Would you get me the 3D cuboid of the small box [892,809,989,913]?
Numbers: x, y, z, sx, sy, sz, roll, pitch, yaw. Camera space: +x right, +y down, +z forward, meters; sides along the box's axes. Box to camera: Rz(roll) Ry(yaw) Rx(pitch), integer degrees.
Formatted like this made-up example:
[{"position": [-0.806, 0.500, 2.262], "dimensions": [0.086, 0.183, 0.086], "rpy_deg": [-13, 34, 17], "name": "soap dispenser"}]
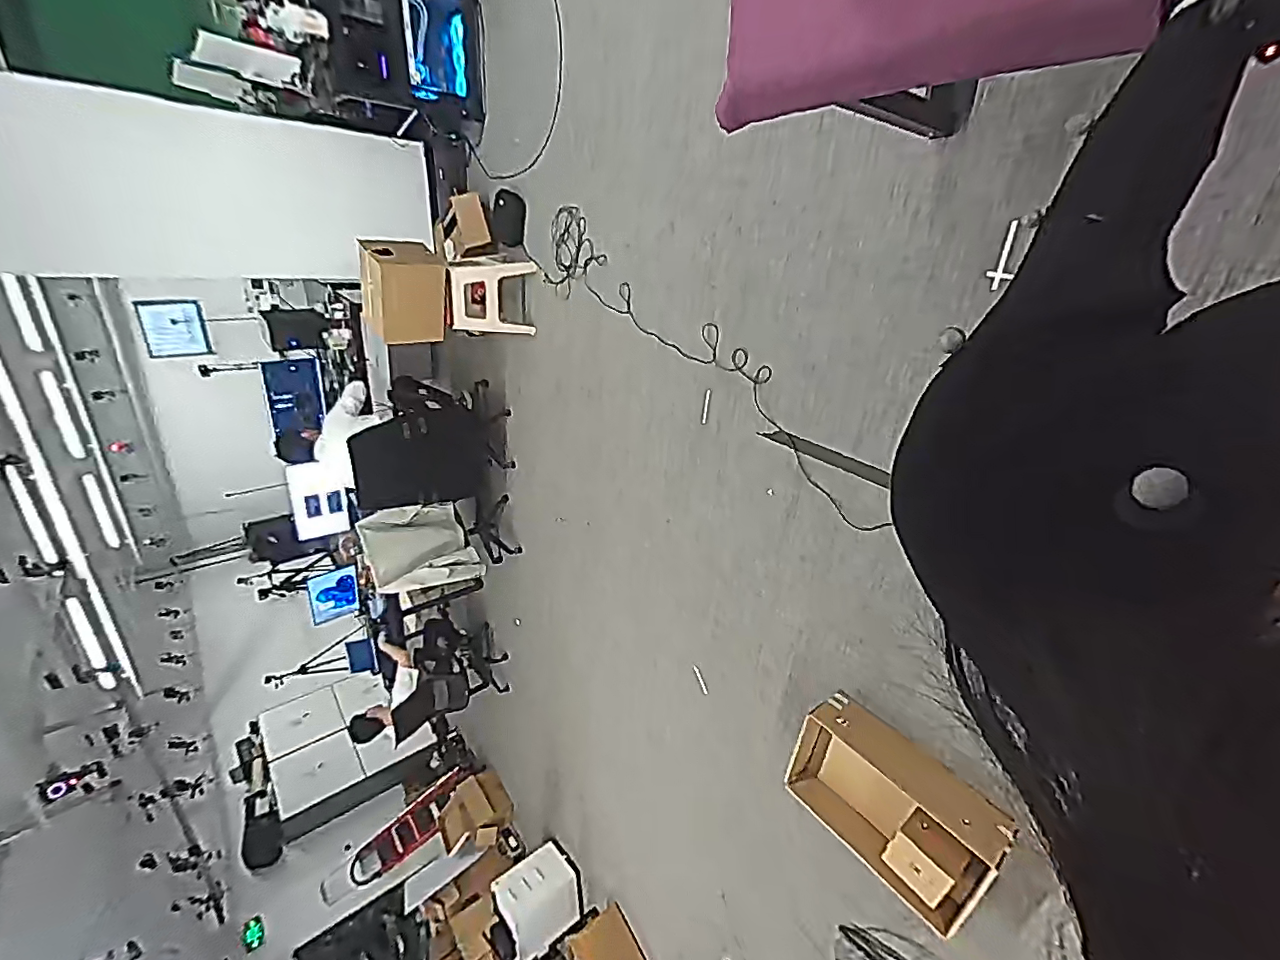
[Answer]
[{"position": [0.914, 1.145, 1.645], "dimensions": [0.179, 0.176, 0.168], "rpy_deg": [36, 130, 40], "name": "small box"}]
